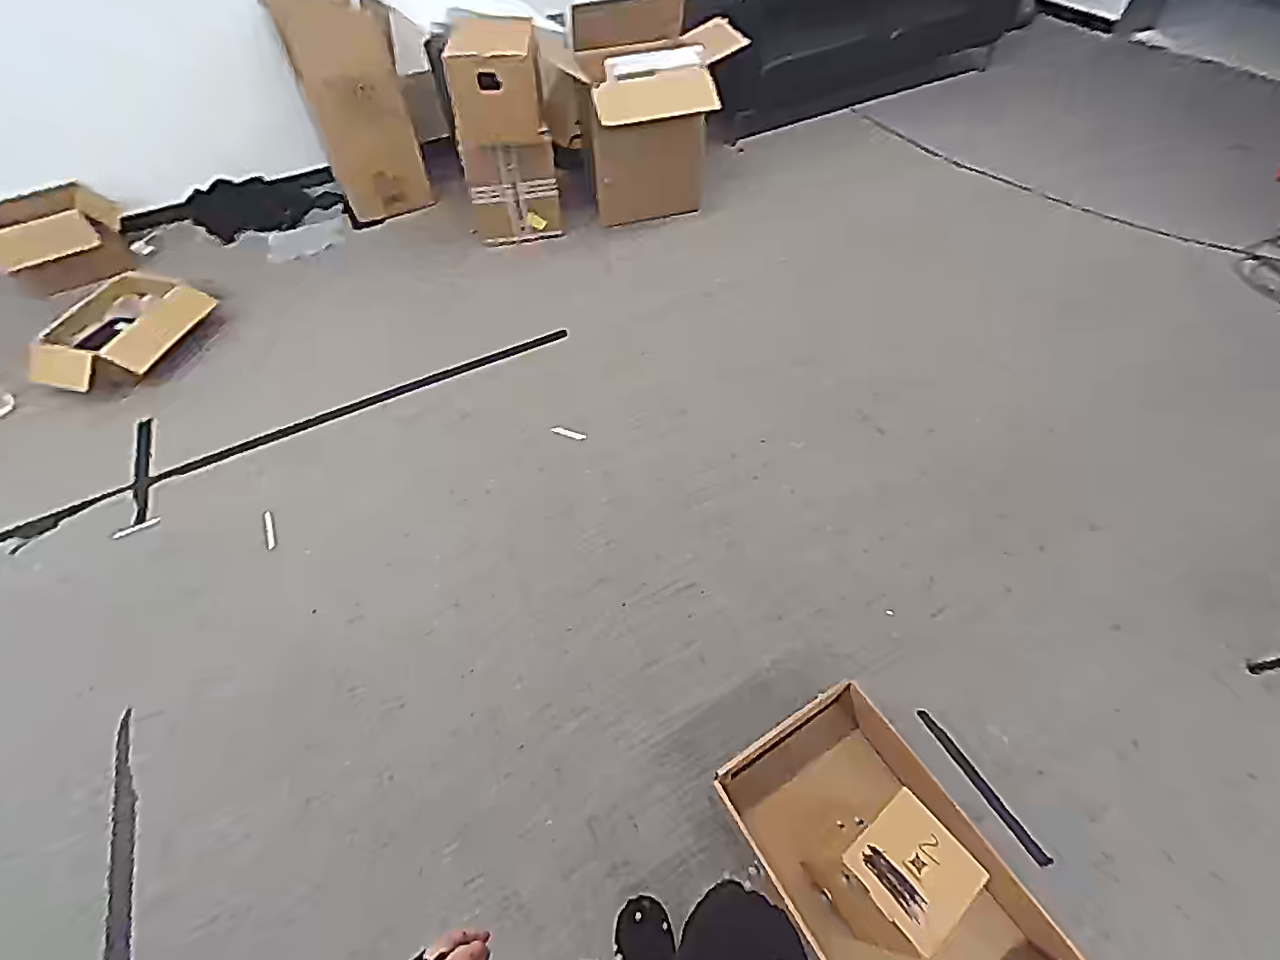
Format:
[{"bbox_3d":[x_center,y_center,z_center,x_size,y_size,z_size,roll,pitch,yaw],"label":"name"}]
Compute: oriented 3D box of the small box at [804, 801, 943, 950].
[{"bbox_3d":[0.455,0.784,1.085,0.179,0.176,0.168,-32,58,-19],"label":"small box"}]
